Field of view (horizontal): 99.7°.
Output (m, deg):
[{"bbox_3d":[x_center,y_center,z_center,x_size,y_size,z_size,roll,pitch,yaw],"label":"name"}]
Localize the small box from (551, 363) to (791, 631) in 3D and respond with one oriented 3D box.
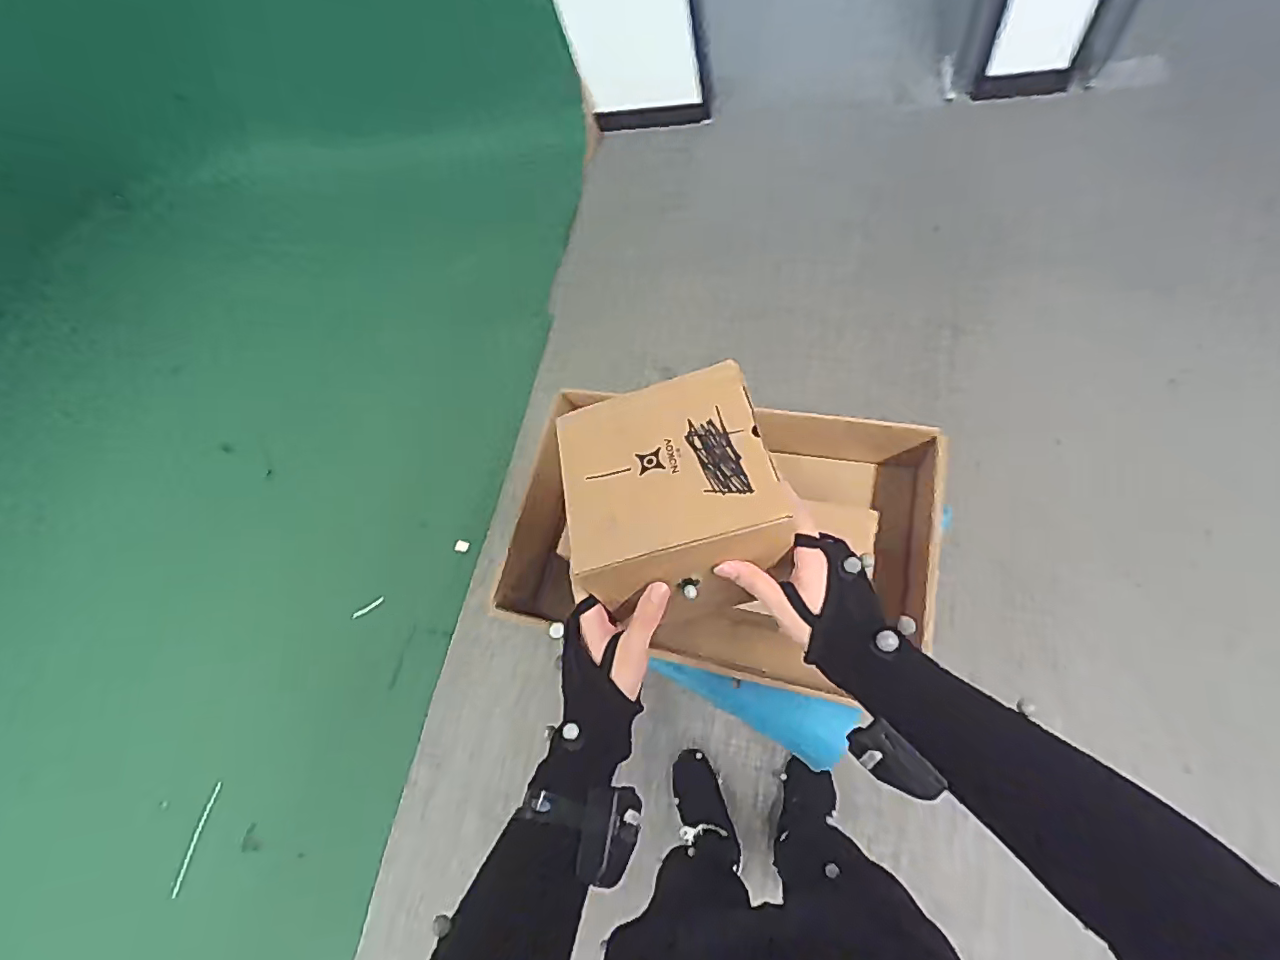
[{"bbox_3d":[0.033,0.025,0.510,0.179,0.176,0.168,-17,56,7],"label":"small box"}]
